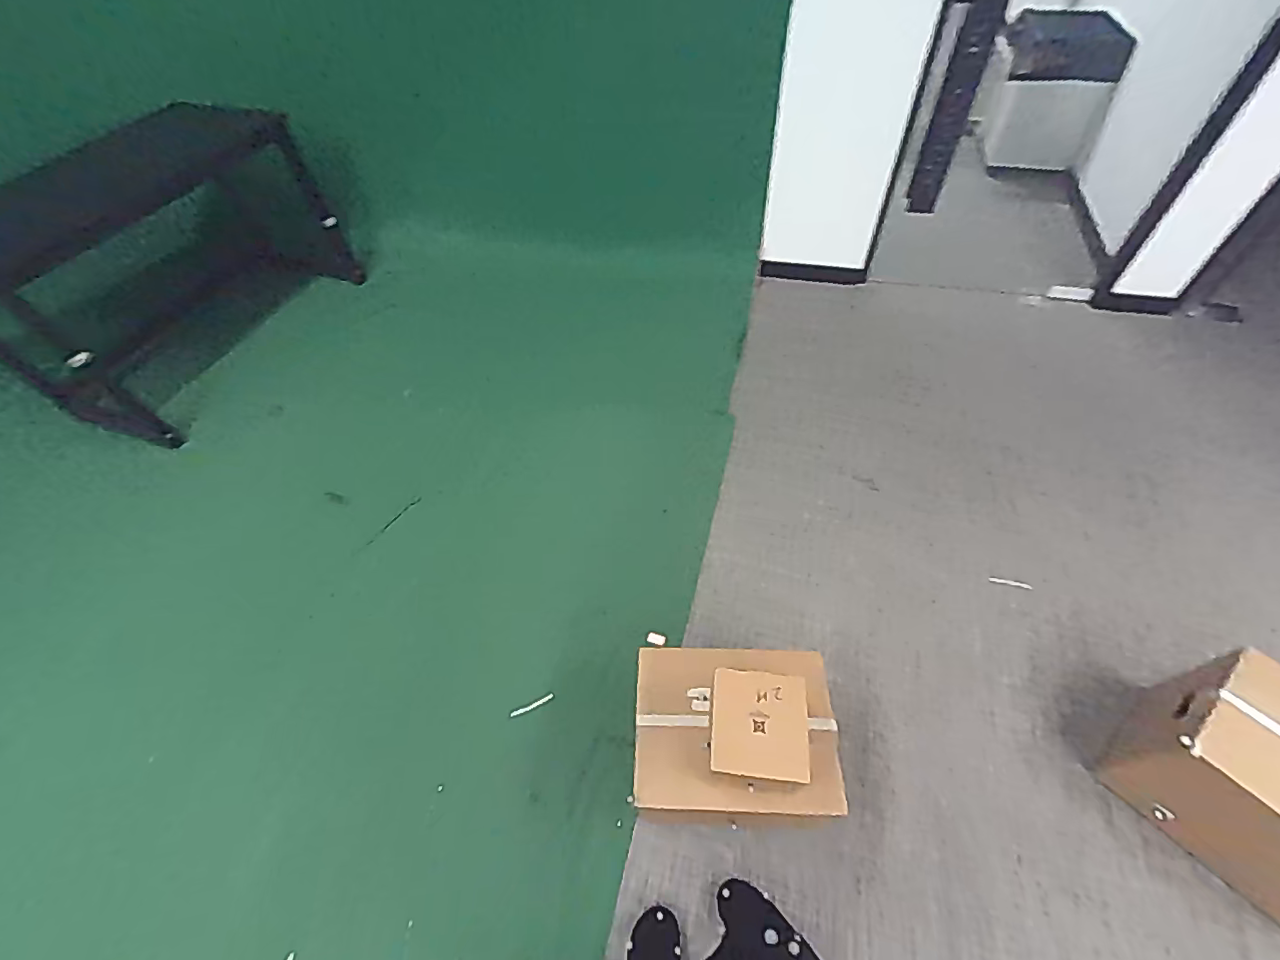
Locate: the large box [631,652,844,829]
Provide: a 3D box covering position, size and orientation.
[{"bbox_3d":[0.196,0.590,1.216,0.408,0.320,0.320,-1,52,4],"label":"large box"}]

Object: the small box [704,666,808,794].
[{"bbox_3d":[0.208,0.466,0.998,0.168,0.176,0.179,5,54,6],"label":"small box"}]
